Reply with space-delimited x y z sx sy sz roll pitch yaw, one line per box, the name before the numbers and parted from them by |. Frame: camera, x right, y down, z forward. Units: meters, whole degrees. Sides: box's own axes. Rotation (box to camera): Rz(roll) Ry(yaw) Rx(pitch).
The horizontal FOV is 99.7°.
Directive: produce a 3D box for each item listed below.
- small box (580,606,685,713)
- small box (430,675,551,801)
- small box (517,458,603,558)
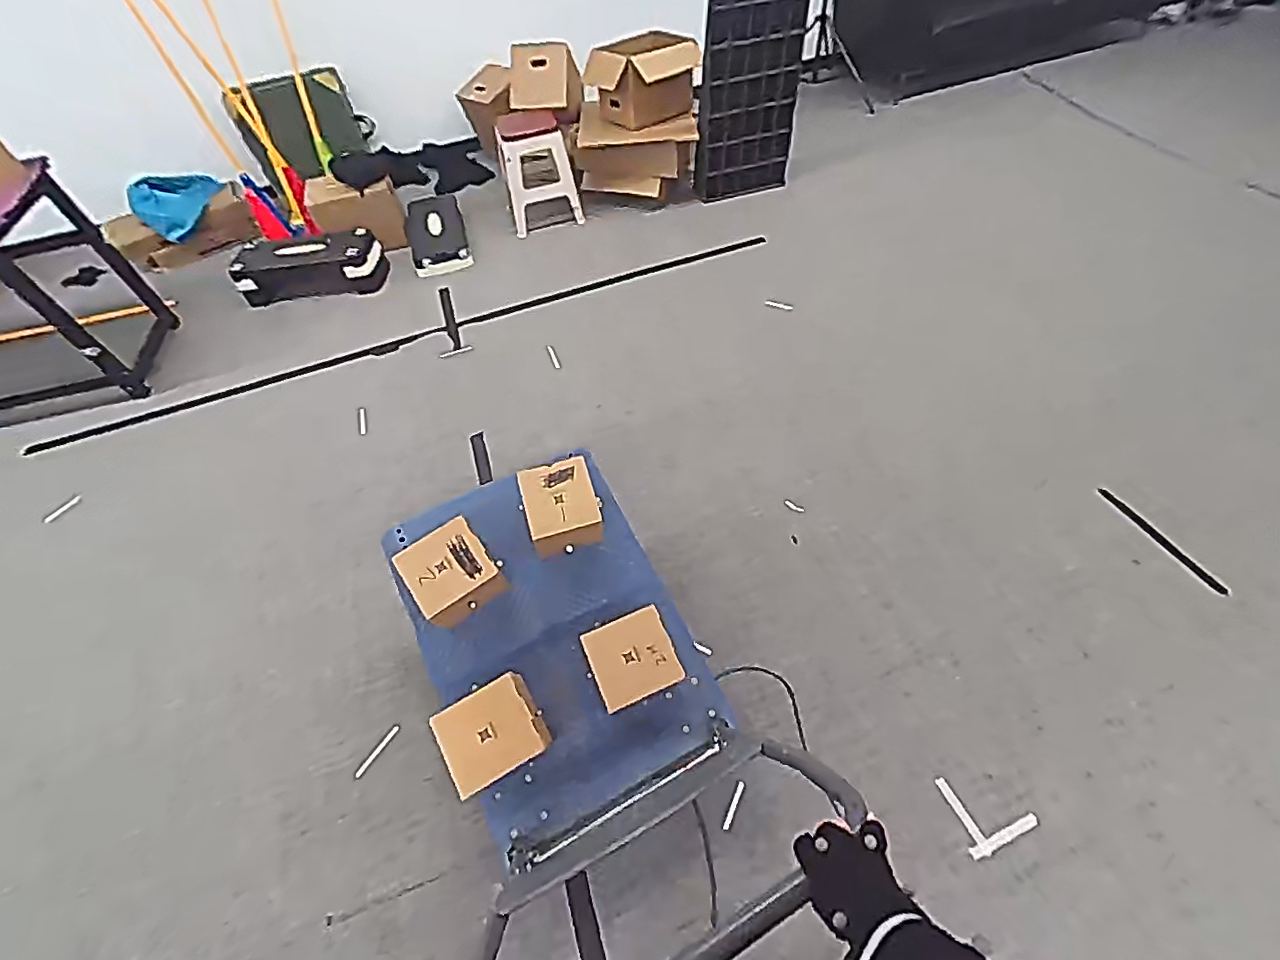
small box | -0.019 0.401 1.194 0.179 0.176 0.168 -21 70 -12
small box | -0.301 0.530 1.122 0.179 0.176 0.168 -28 71 -16
small box | -0.194 0.073 1.325 0.168 0.176 0.179 -15 70 -10
